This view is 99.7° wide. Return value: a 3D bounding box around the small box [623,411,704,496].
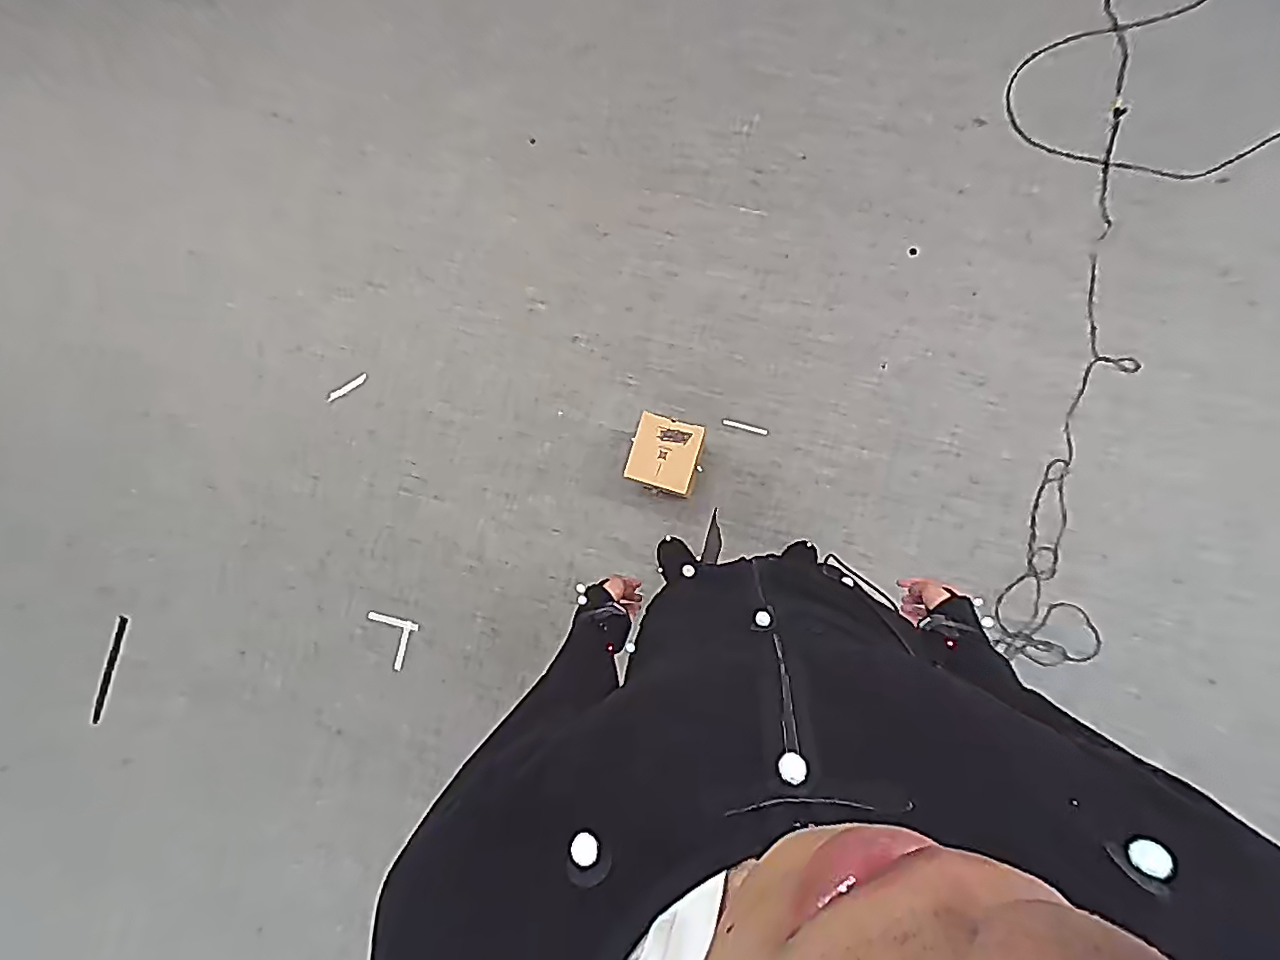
[{"bbox_3d":[0.066,-0.064,1.429,0.168,0.176,0.179,17,88,8],"label":"small box"}]
